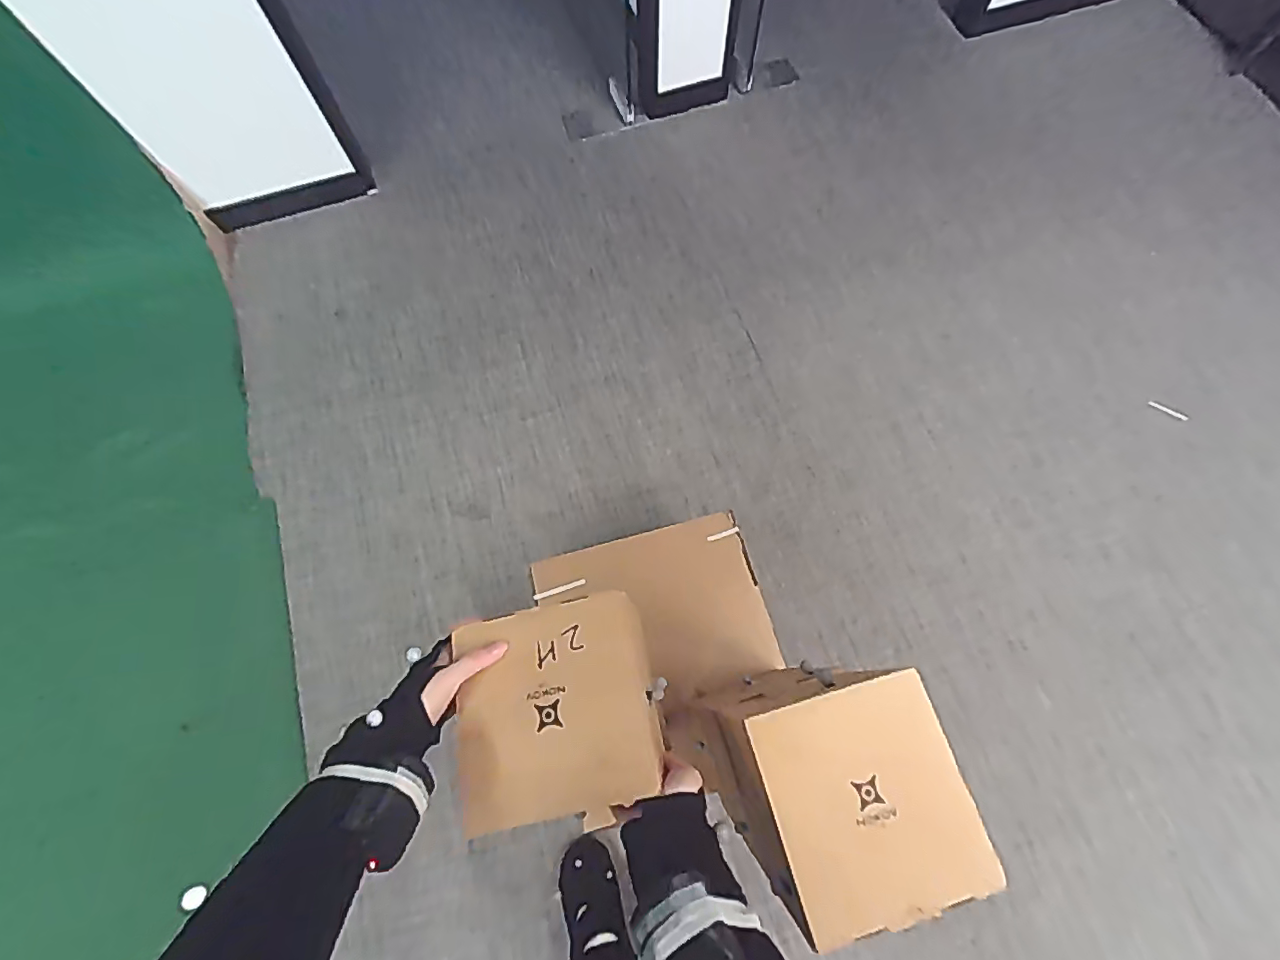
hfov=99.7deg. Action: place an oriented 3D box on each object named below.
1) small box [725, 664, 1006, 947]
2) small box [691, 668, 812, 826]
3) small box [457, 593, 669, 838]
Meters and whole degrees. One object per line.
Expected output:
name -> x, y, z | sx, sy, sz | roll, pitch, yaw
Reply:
small box -> 0.192, 0.292, 0.527 | 0.168, 0.176, 0.179 | -15, 71, -5
small box -> 0.188, 0.398, 0.836 | 0.179, 0.176, 0.168 | -17, 70, -5
small box -> -0.068, 0.228, 0.547 | 0.168, 0.176, 0.179 | -12, 67, 0
